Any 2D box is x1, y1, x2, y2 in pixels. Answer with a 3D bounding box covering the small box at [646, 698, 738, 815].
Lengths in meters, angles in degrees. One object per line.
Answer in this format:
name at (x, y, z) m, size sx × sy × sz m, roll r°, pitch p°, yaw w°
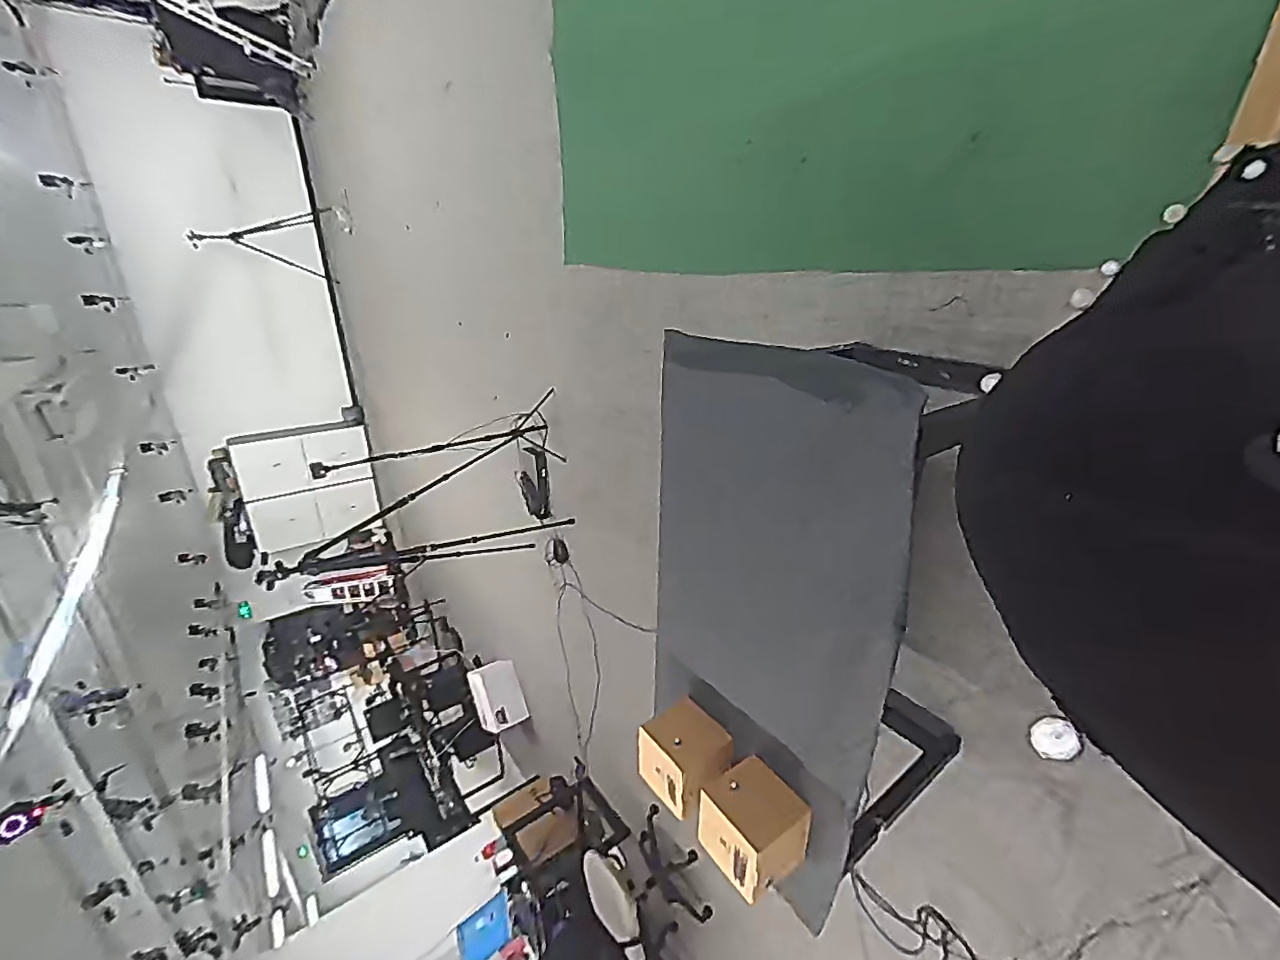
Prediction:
small box at (0.133, 0.694, 1.381) m, size 0.179 × 0.176 × 0.168 m, roll 26°, pitch 124°, yaw 49°
